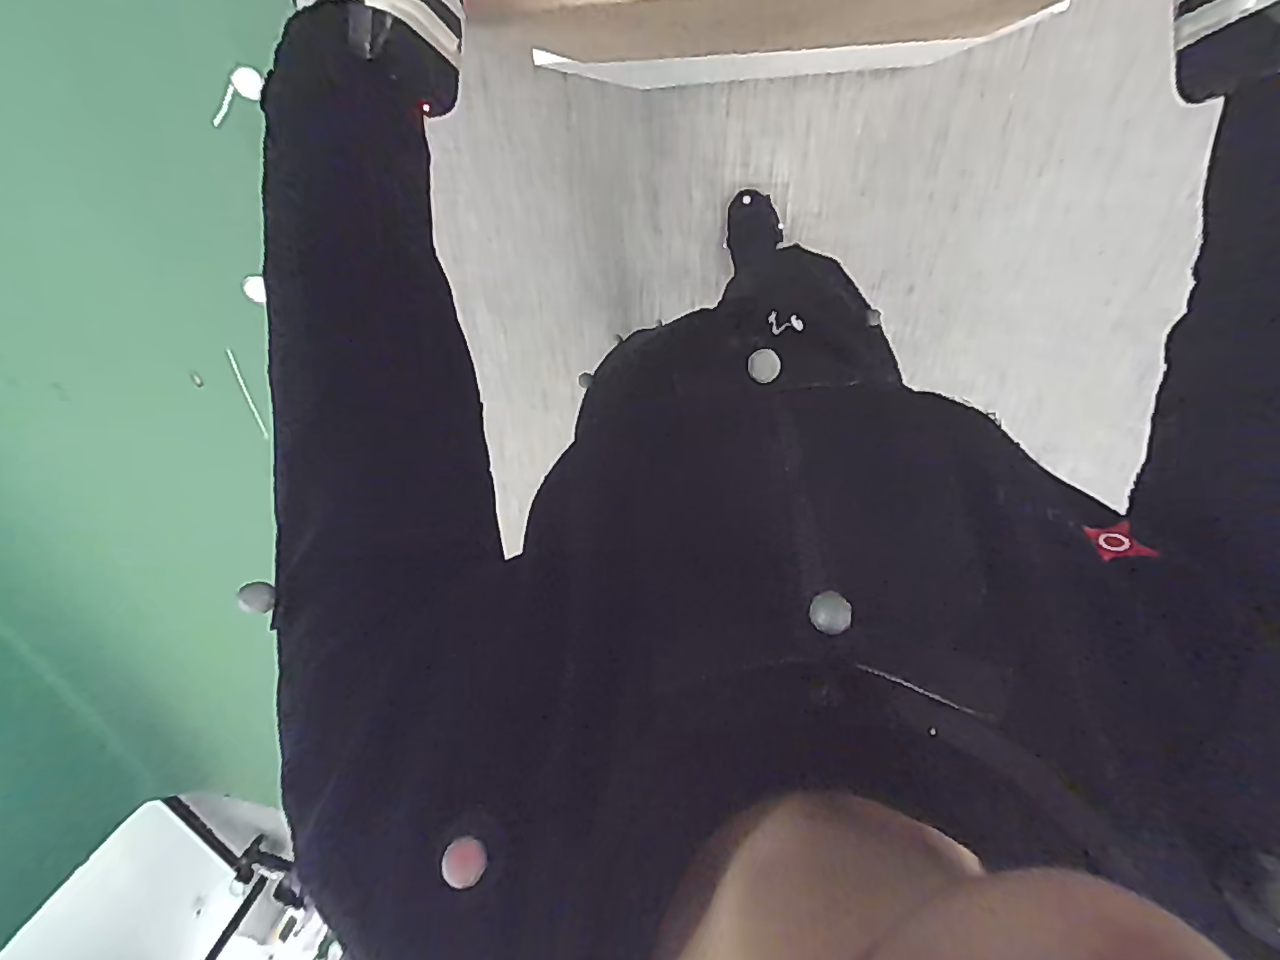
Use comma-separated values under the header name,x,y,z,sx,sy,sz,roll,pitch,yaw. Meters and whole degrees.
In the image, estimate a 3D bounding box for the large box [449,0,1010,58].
name,x,y,z,sx,sy,sz,roll,pitch,yaw
large box,0.092,-0.487,0.334,0.408,0.320,0.320,3,124,11
